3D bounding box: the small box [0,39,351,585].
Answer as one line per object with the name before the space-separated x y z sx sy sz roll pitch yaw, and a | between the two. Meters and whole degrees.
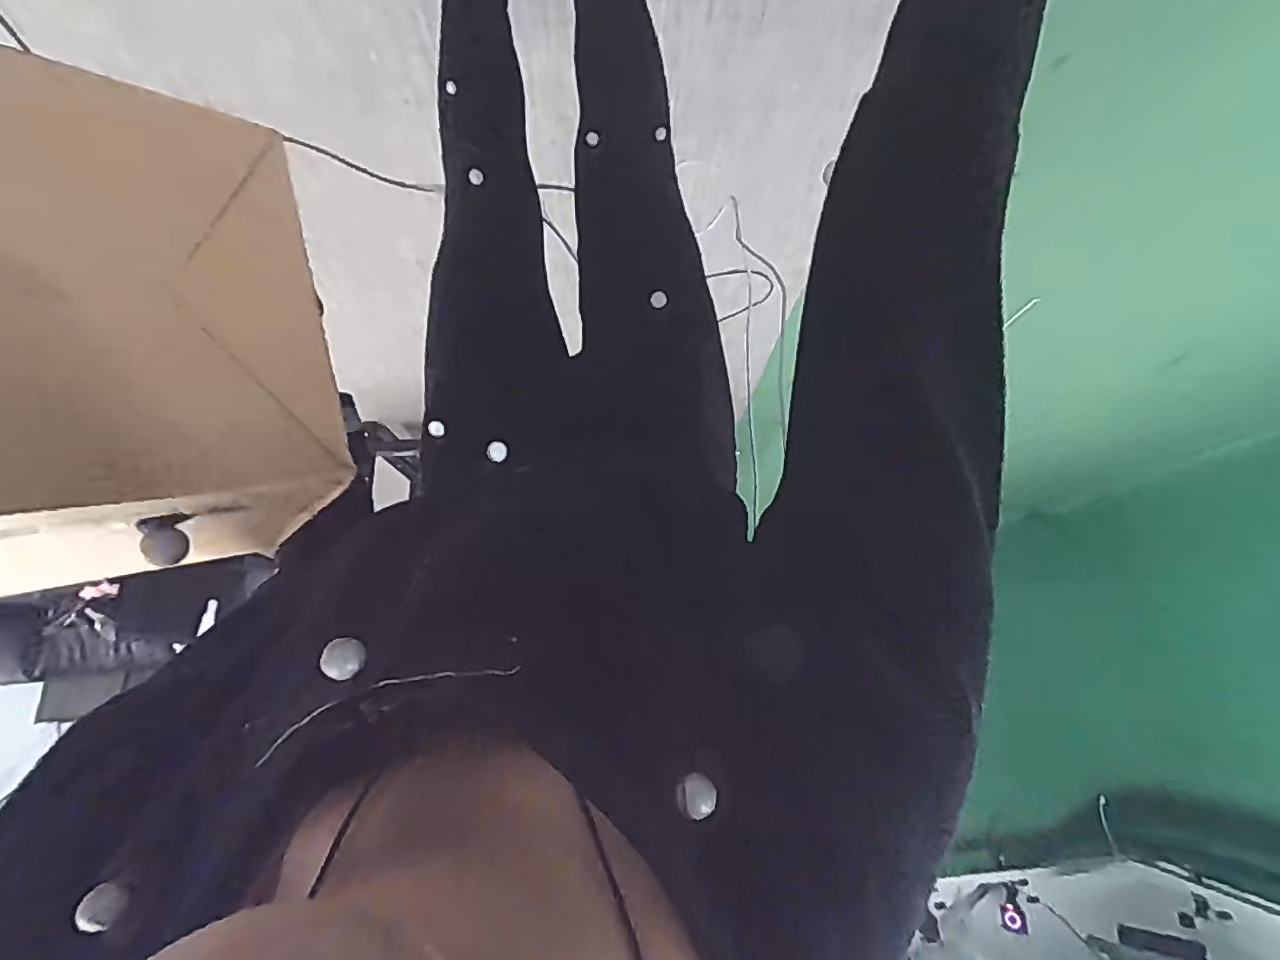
small box | -0.248 -0.056 0.231 0.176 0.179 0.168 -20 173 43
